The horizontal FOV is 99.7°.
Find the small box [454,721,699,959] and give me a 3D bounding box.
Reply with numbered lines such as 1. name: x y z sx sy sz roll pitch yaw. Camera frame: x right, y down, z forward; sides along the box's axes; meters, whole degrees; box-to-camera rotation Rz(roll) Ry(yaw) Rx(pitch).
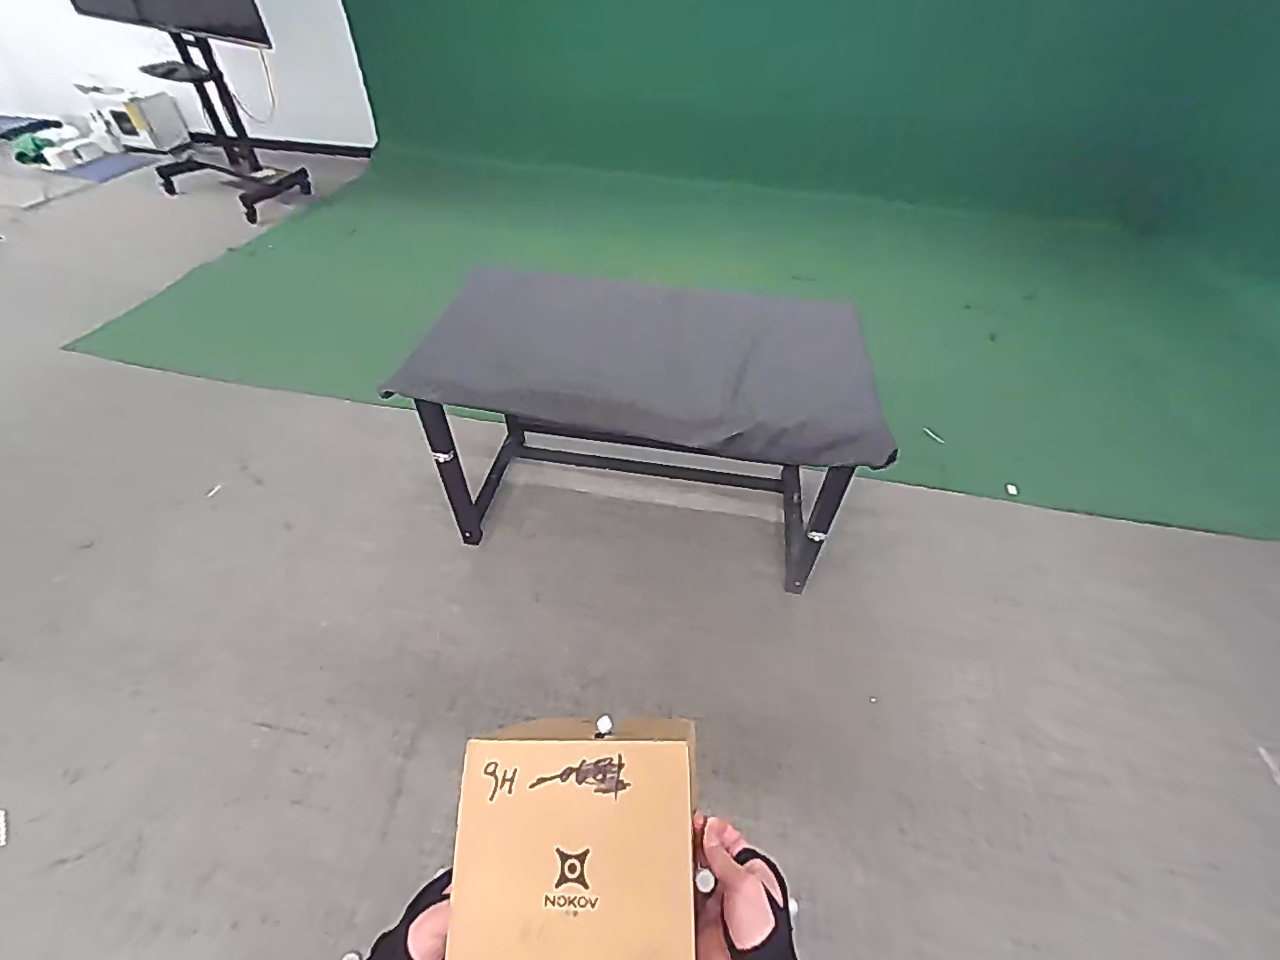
1. small box: -0.035 0.306 0.446 0.168 0.176 0.179 -1 71 5
